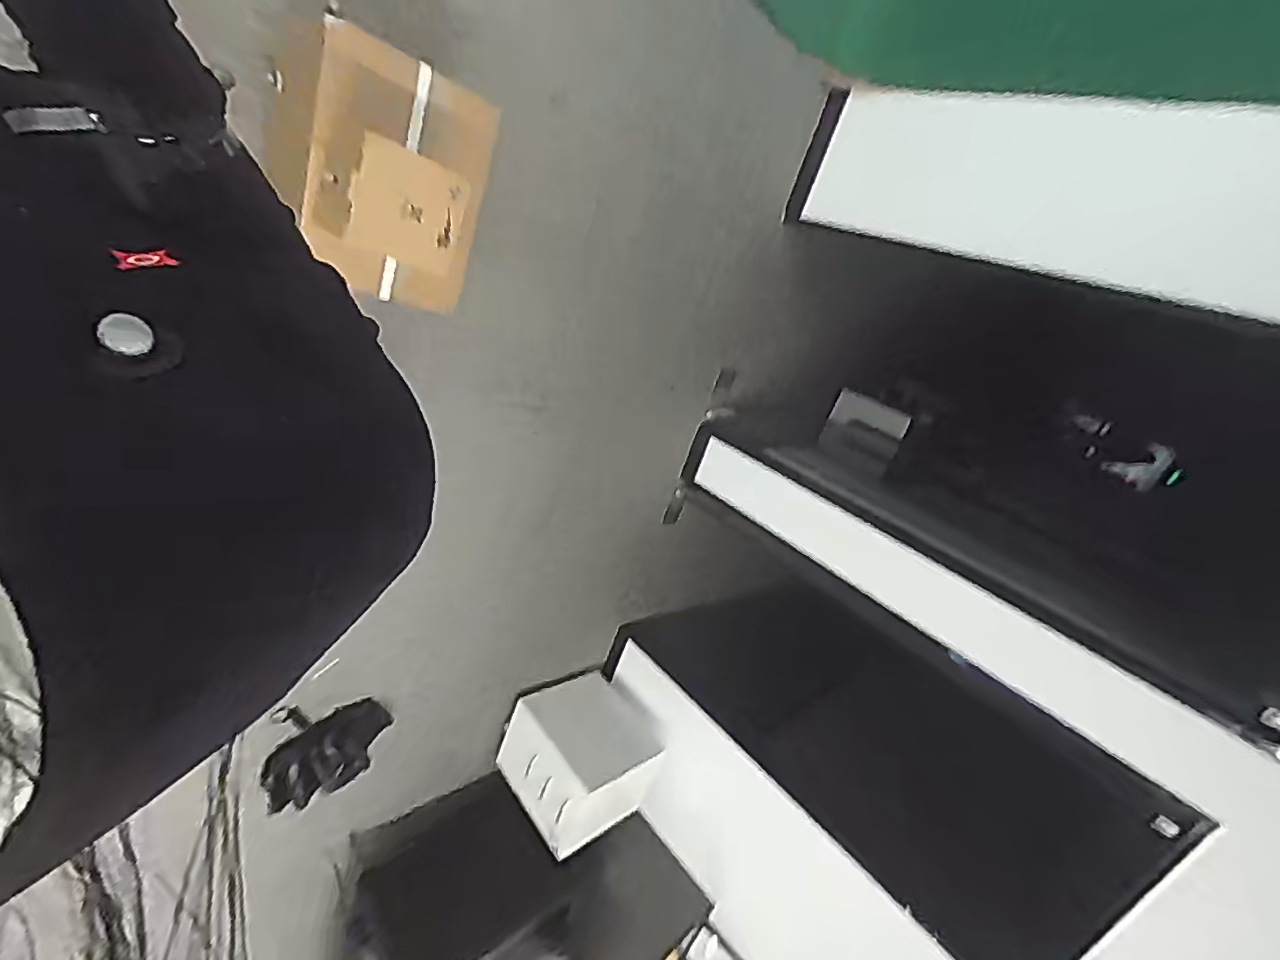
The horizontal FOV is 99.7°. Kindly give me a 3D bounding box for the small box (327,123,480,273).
[{"bbox_3d":[-0.408,-0.477,0.920,0.179,0.176,0.168,4,115,-47],"label":"small box"}]
